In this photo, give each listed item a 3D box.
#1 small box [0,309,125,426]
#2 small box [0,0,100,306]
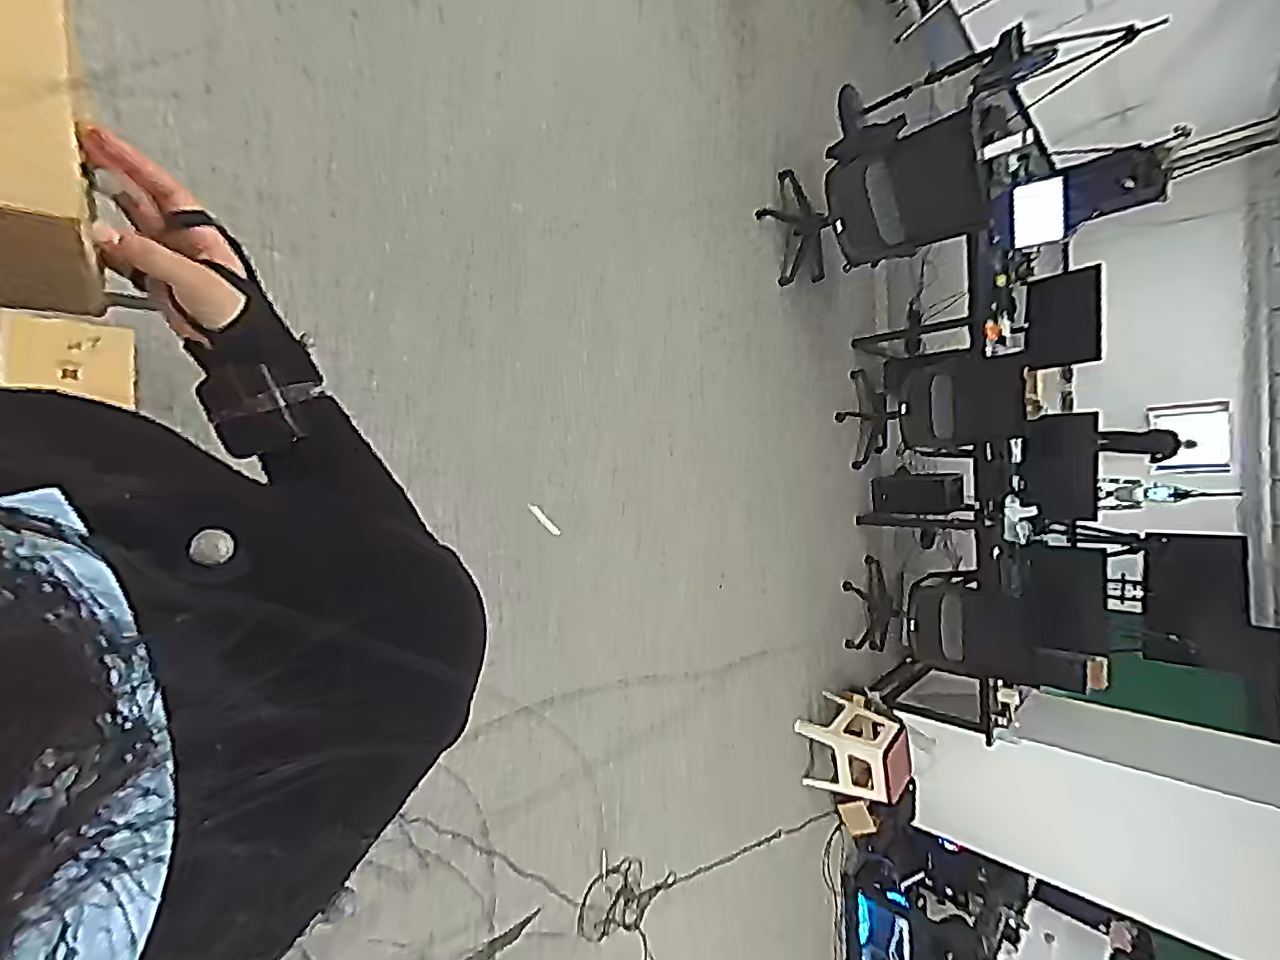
[{"bbox_3d":[-1.069,-0.196,1.000,0.168,0.176,0.179,1,88,-45],"label":"small box"},{"bbox_3d":[-0.416,-0.204,0.287,0.179,0.176,0.168,-5,89,-41],"label":"small box"}]
